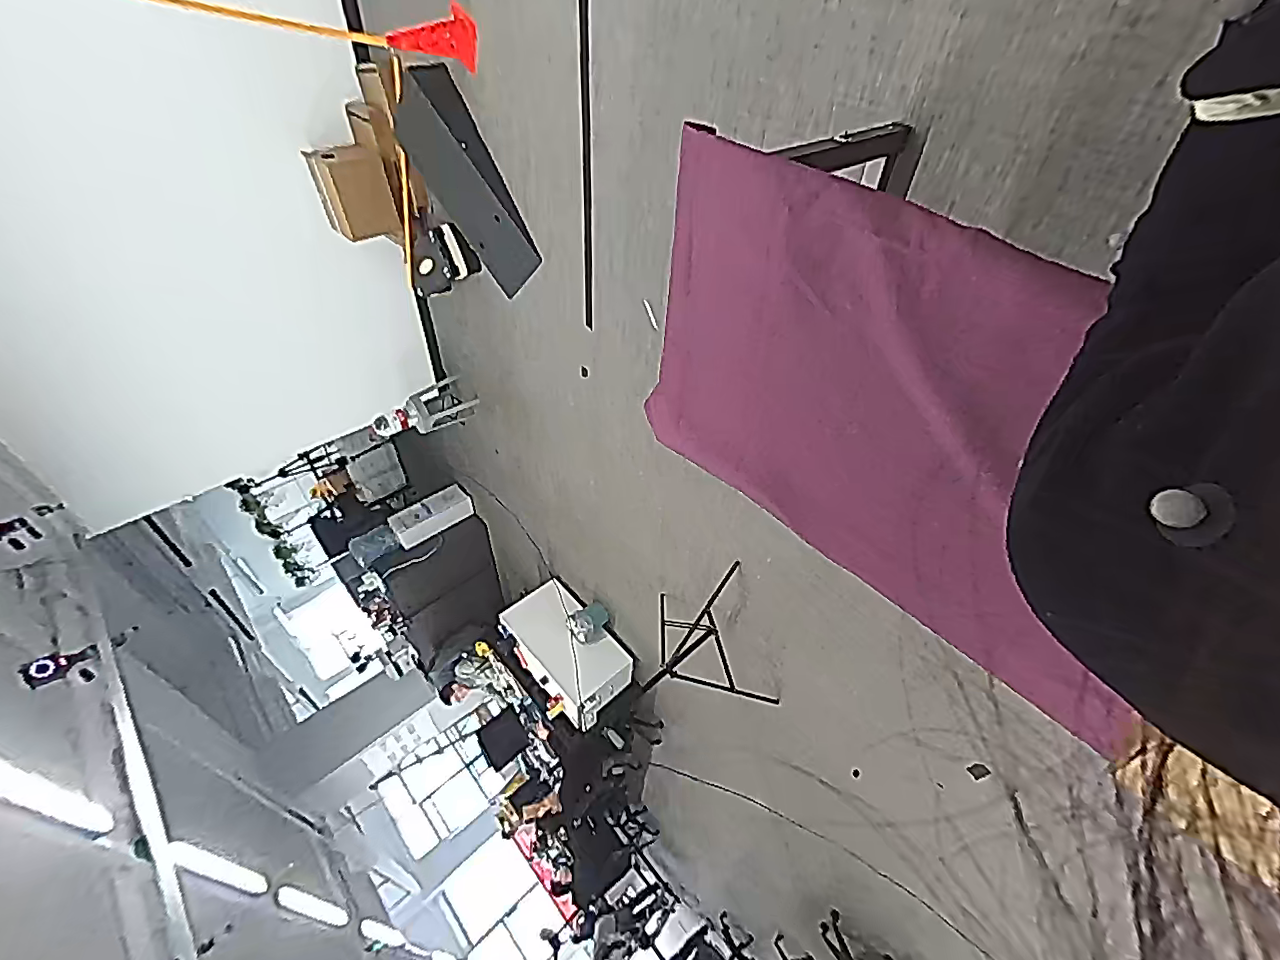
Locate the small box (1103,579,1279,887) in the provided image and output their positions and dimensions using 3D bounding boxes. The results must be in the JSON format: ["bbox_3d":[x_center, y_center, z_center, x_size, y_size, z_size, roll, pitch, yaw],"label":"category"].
[{"bbox_3d":[0.543,0.206,0.439,0.179,0.176,0.168,35,145,32],"label":"small box"}]
